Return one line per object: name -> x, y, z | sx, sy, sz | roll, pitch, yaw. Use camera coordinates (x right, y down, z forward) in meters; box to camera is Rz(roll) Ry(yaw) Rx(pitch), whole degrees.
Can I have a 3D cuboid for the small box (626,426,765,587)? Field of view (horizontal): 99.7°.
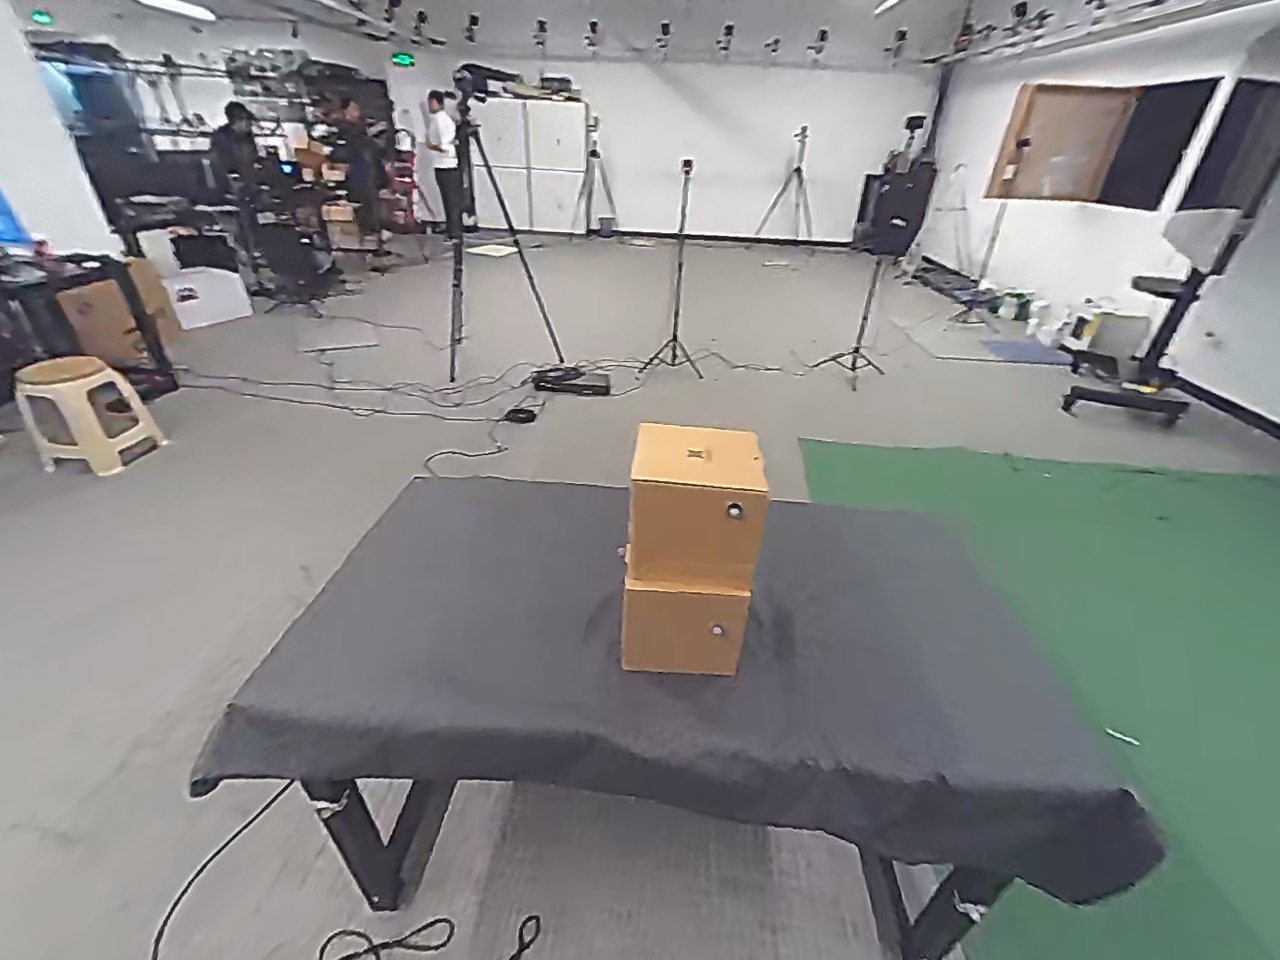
small box -> 0.073, 0.037, 0.782 | 0.179, 0.176, 0.168 | 5, 31, 2
